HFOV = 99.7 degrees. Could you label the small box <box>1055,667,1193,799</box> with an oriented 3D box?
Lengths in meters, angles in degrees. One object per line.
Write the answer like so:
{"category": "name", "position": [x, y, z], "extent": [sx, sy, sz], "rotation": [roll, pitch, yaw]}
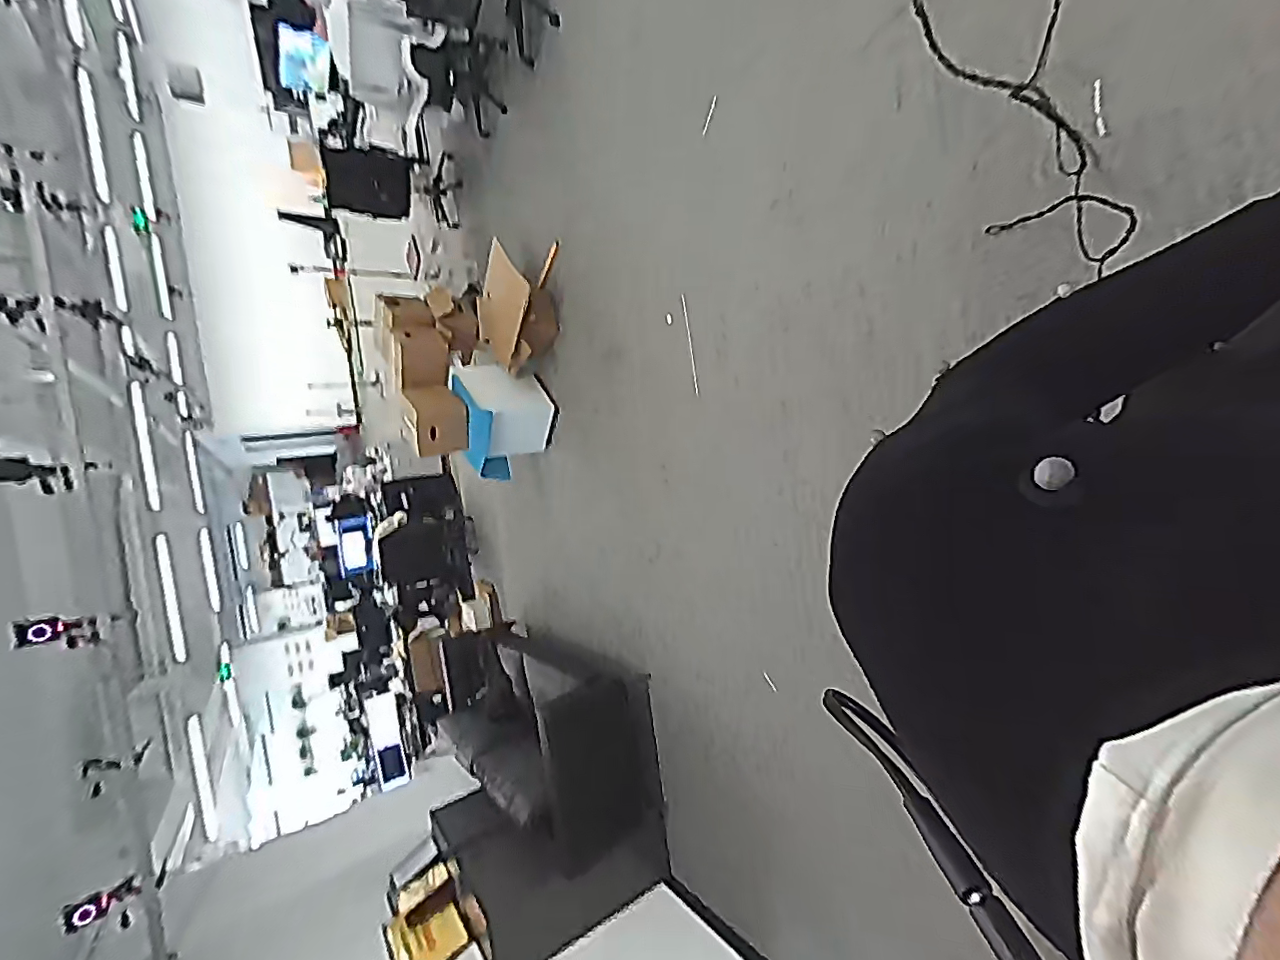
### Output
{"category": "small box", "position": [0.991, 0.503, 1.111], "extent": [0.179, 0.176, 0.168], "rotation": [3, 99, 56]}

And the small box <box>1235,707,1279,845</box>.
{"category": "small box", "position": [1.138, 0.507, 0.900], "extent": [0.168, 0.176, 0.179], "rotation": [-6, 92, 58]}
